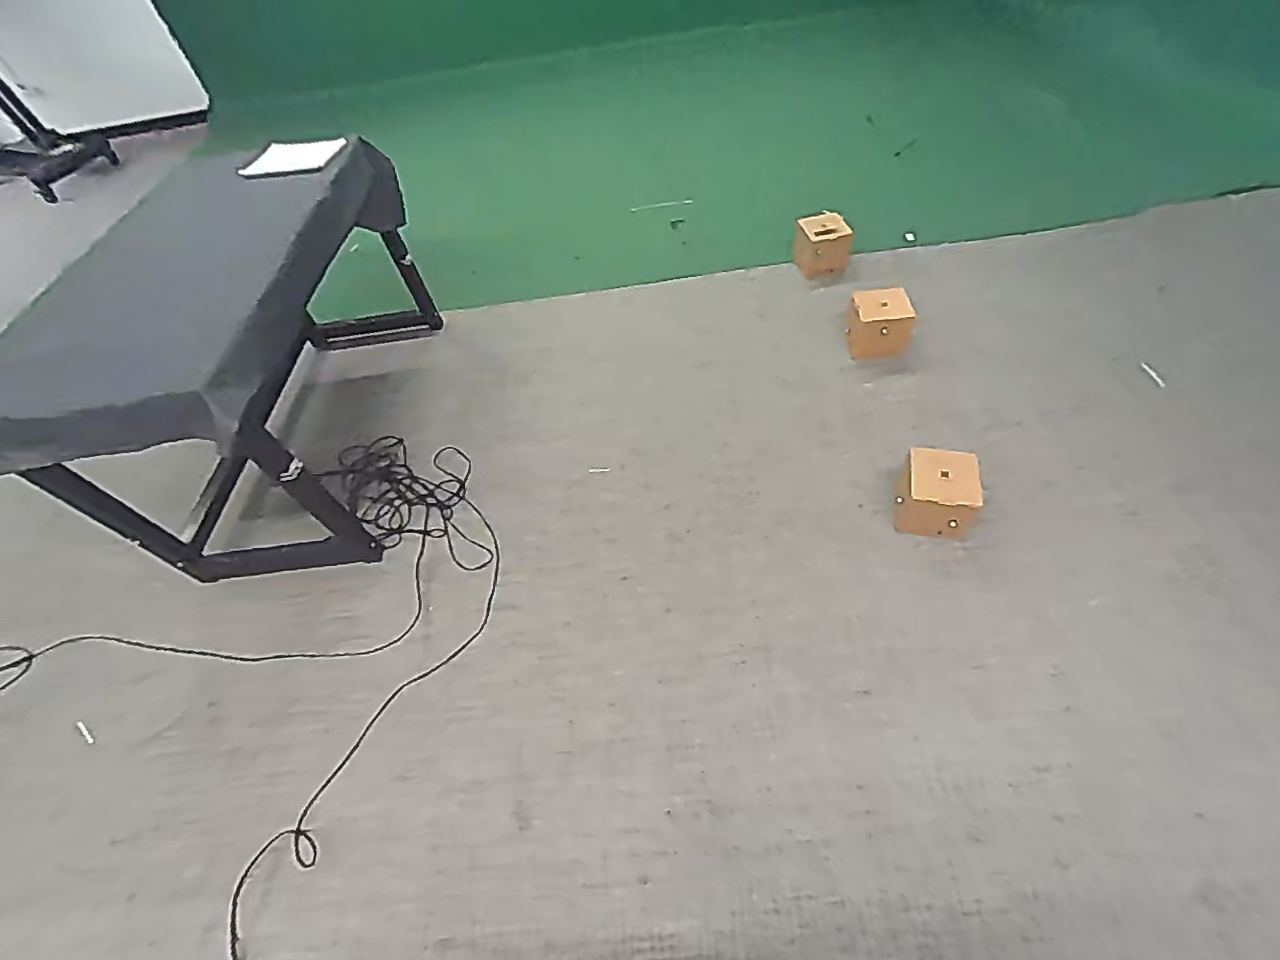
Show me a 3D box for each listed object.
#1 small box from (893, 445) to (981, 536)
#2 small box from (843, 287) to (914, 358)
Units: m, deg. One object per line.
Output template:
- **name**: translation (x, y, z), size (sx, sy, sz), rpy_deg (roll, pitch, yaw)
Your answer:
- **small box**: translation (0.793, 0.032, 1.463), size (0.168, 0.176, 0.179), rpy_deg (7, 54, 13)
- **small box**: translation (0.827, -0.548, 1.889), size (0.179, 0.176, 0.168), rpy_deg (-4, 53, 7)
